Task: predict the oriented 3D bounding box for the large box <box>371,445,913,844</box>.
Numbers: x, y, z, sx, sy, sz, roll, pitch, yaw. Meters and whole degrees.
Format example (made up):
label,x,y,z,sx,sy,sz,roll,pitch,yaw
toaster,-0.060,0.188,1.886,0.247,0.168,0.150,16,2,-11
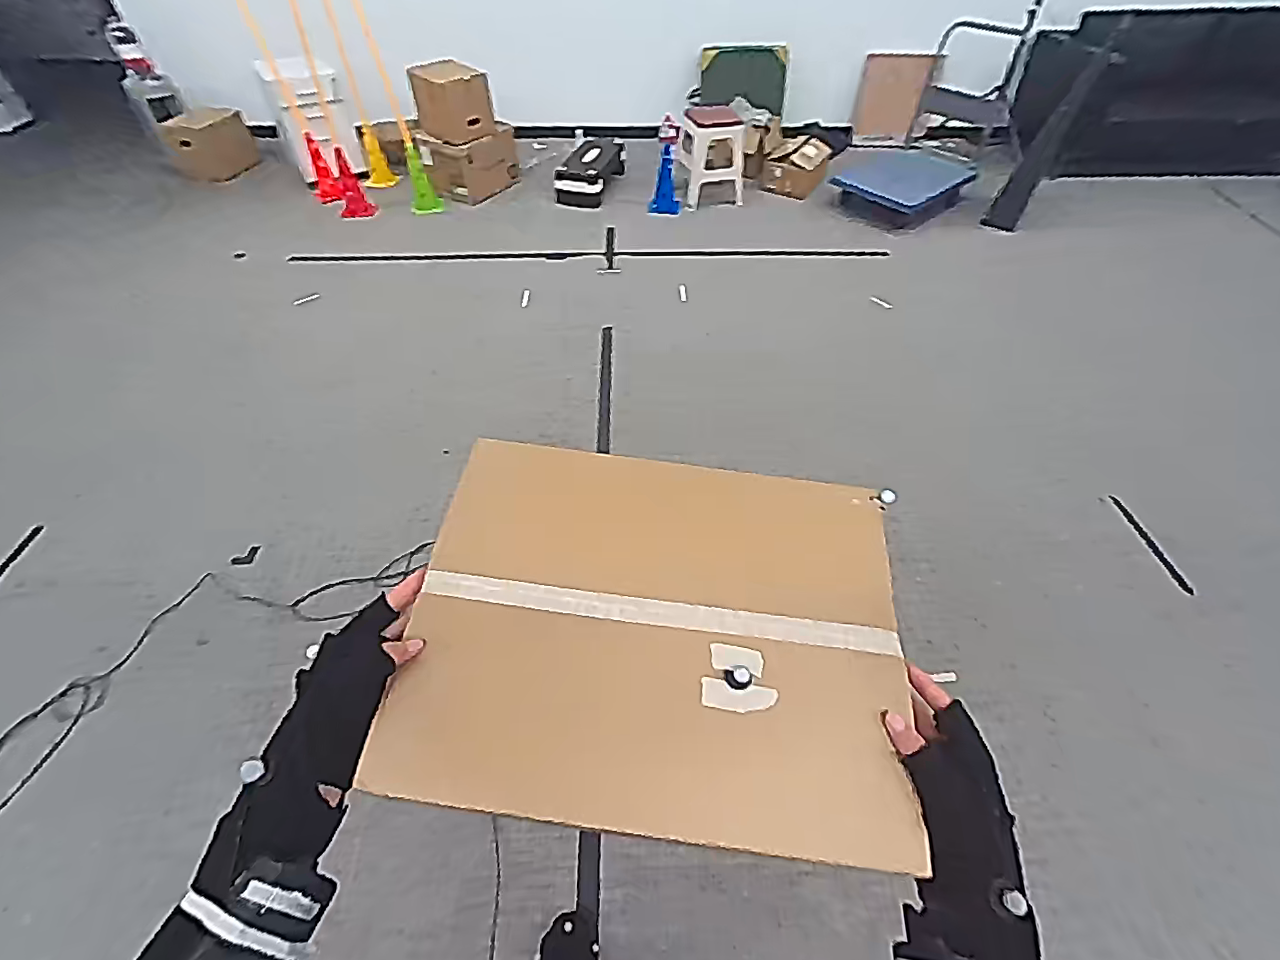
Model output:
label,x,y,z,sx,sy,sz,roll,pitch,yaw
large box,0.005,0.192,0.592,0.408,0.320,0.320,7,57,1
